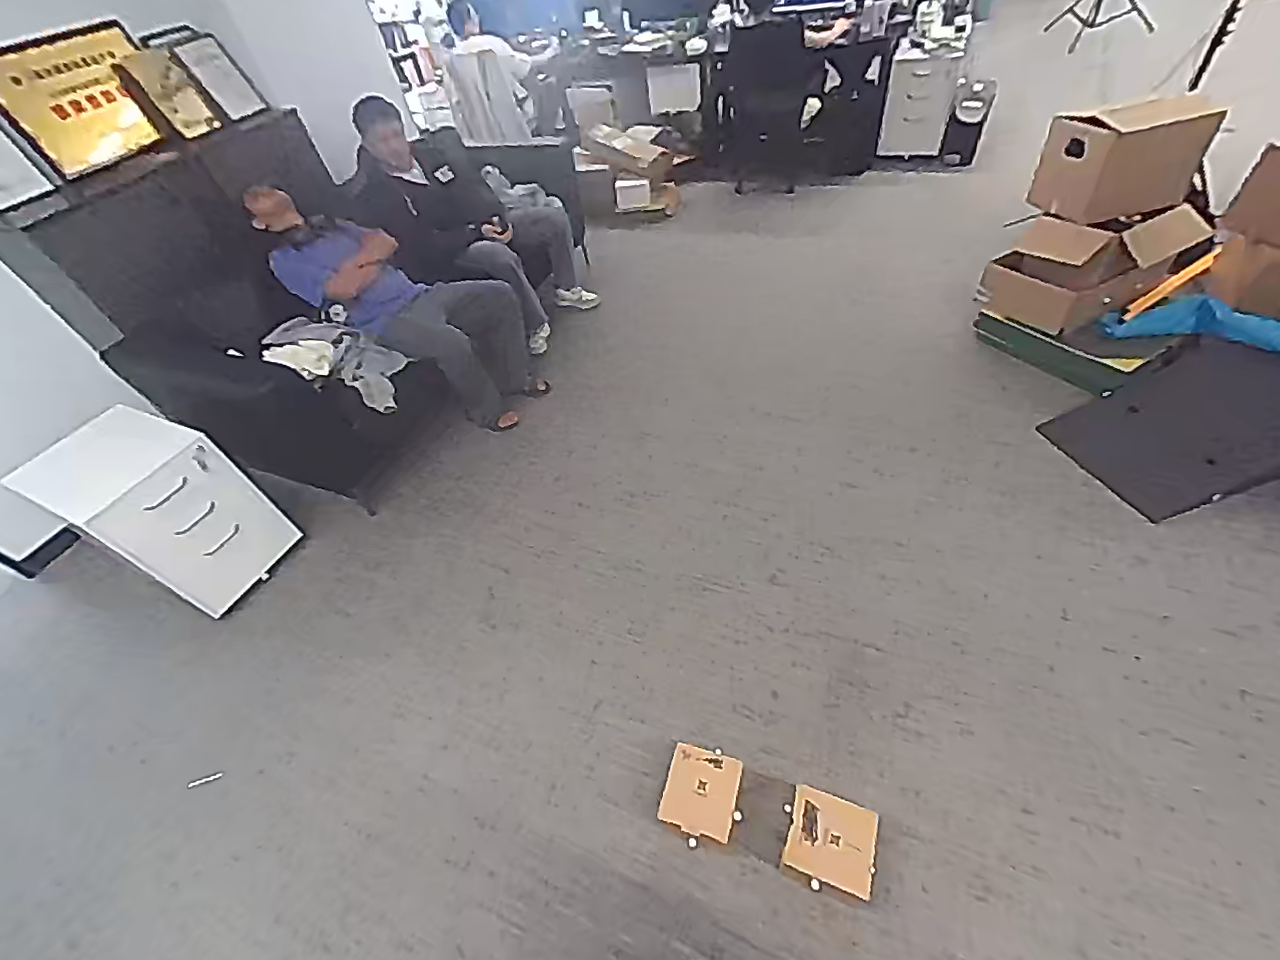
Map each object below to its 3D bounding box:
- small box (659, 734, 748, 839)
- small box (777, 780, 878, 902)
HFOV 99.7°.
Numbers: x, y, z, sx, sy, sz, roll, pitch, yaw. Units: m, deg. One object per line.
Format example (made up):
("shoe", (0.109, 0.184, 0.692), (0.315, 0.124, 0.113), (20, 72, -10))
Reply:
("small box", (0.157, 0.754, 1.324), (0.179, 0.176, 0.168), (-14, 45, 0))
("small box", (0.417, 0.817, 1.219), (0.179, 0.176, 0.168), (15, 54, 25))
